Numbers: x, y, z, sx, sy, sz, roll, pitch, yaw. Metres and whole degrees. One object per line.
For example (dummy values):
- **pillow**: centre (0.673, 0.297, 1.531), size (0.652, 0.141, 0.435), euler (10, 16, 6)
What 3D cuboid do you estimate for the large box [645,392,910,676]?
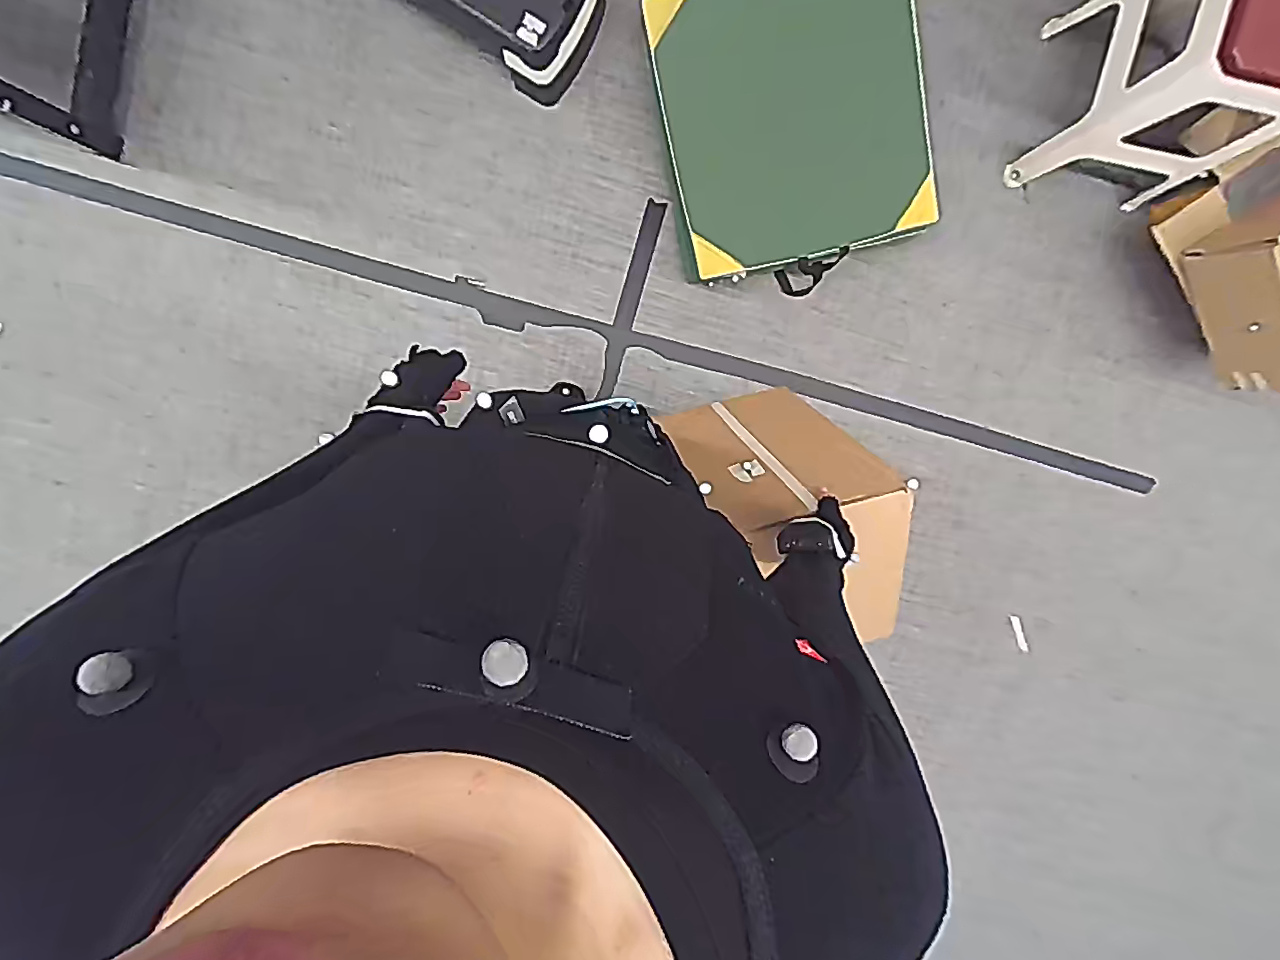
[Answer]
- **large box**: centre (0.219, 0.078, 1.013), size (0.320, 0.408, 0.320), euler (-14, 124, -7)
